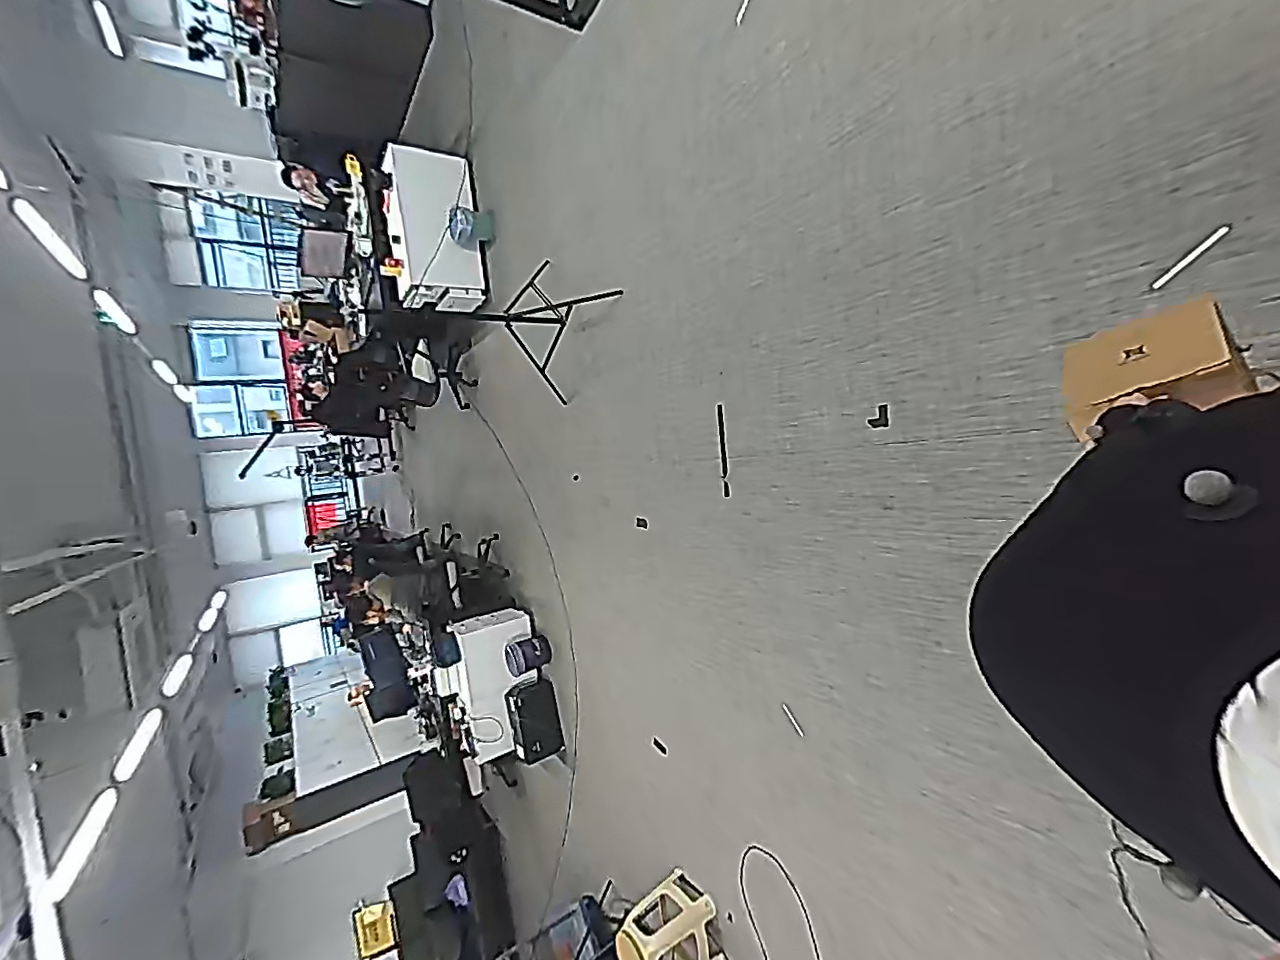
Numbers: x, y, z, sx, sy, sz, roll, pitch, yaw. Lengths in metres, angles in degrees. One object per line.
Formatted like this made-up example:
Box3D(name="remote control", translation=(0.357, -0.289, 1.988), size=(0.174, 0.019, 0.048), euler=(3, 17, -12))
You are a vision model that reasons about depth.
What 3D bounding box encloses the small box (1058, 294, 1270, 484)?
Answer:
Box3D(name="small box", translation=(0.714, -0.112, 0.748), size=(0.176, 0.179, 0.168), euler=(46, 143, -16))
